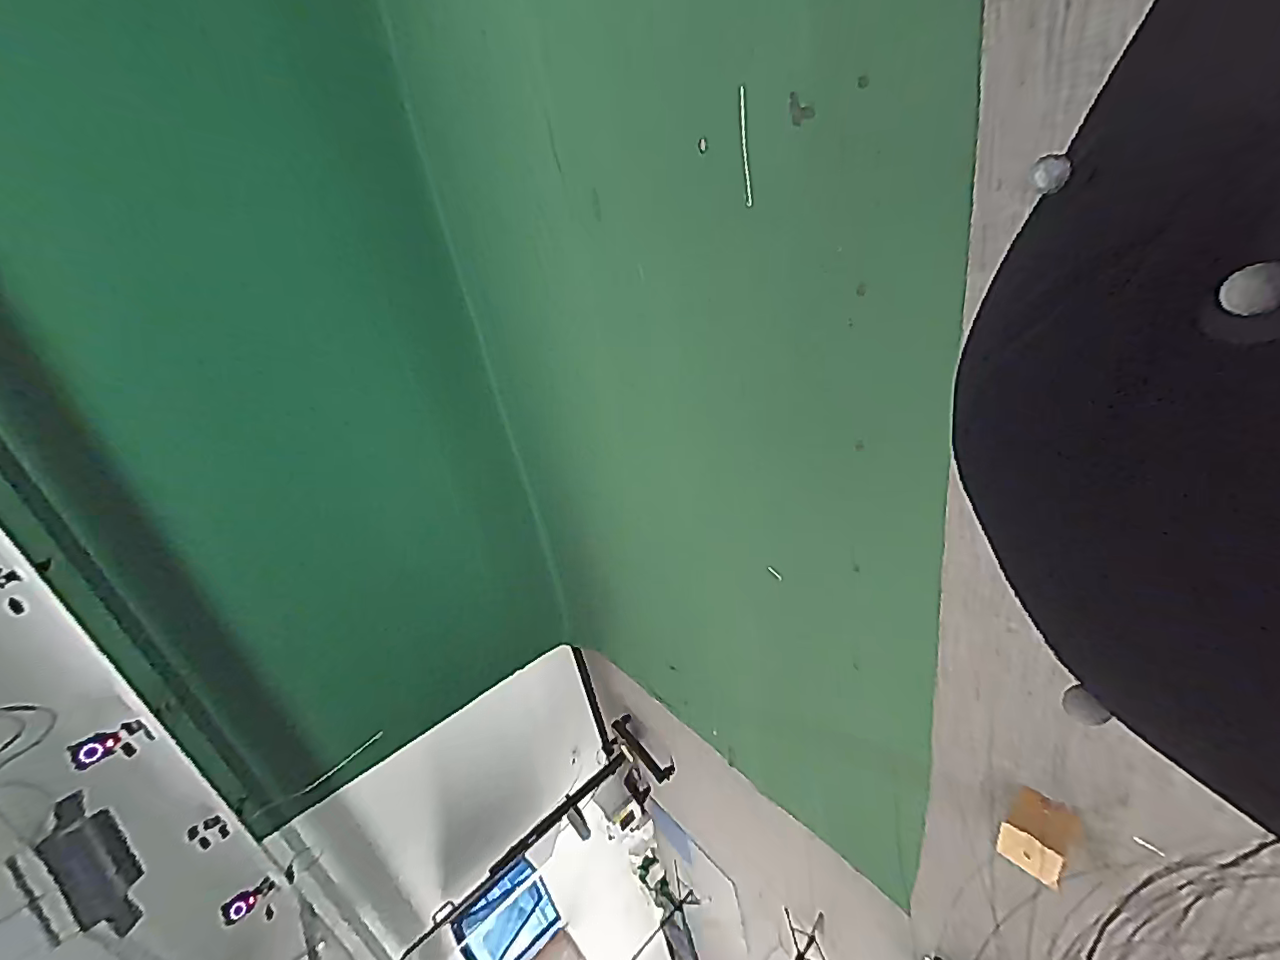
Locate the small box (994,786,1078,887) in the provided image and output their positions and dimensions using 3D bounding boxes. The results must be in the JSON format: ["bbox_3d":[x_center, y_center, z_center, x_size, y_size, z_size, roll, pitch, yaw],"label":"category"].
[{"bbox_3d":[1.285,1.151,1.754,0.168,0.176,0.179,22,130,47],"label":"small box"}]
